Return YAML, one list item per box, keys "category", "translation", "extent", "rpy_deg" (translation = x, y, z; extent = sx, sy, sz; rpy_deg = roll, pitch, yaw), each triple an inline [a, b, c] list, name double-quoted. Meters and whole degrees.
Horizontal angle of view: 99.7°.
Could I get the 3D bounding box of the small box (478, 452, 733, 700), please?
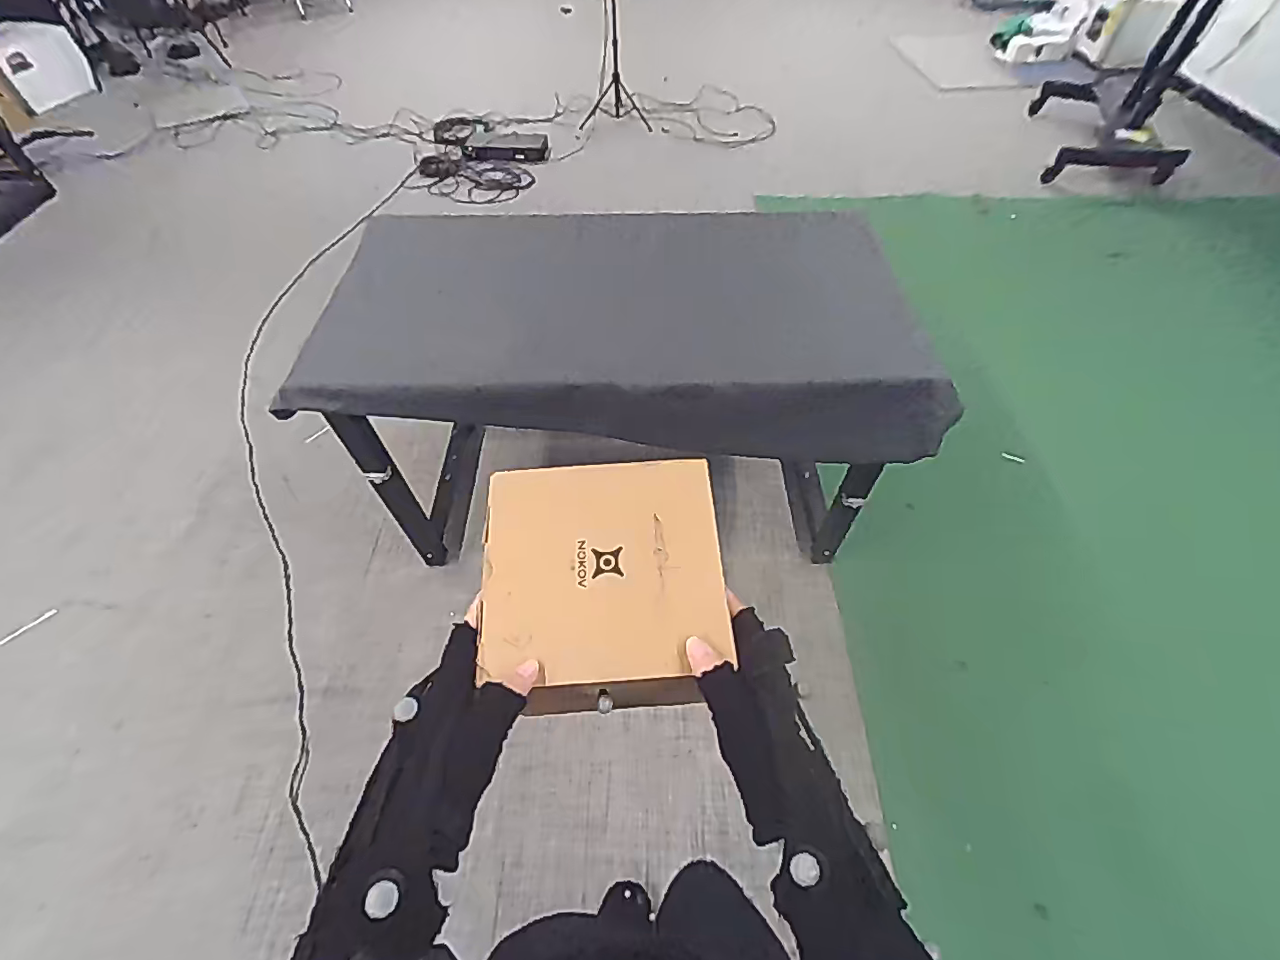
- category: "small box"
  translation: [-0.029, 0.091, 0.471]
  extent: [0.179, 0.176, 0.168]
  rpy_deg: [-4, 63, -3]
